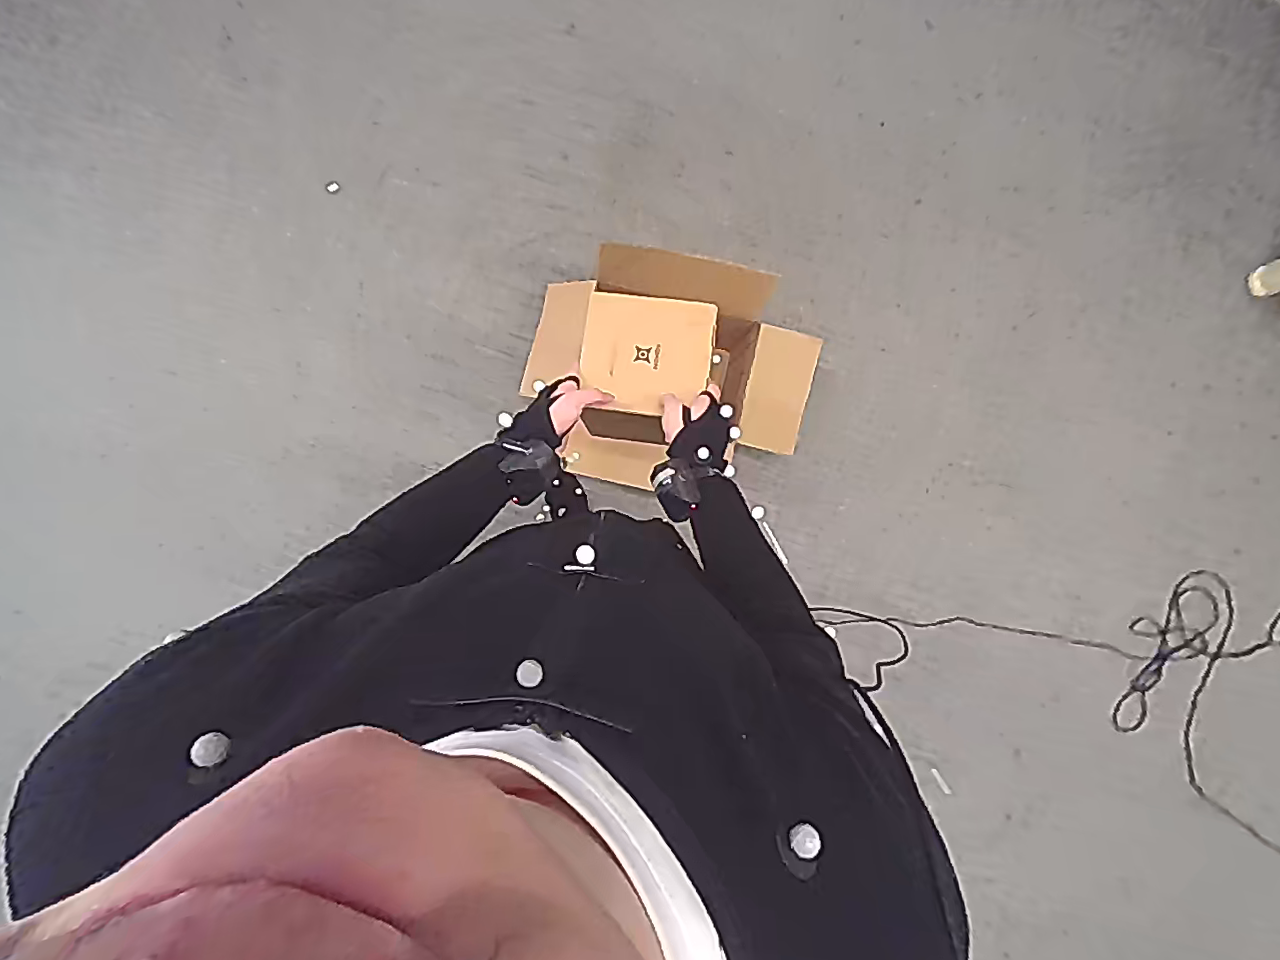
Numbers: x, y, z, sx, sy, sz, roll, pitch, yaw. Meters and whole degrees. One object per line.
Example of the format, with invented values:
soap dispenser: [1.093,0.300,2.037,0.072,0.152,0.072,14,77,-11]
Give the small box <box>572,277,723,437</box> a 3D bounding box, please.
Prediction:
small box: [0.014,-0.166,0.782,0.179,0.176,0.168,9,81,4]
